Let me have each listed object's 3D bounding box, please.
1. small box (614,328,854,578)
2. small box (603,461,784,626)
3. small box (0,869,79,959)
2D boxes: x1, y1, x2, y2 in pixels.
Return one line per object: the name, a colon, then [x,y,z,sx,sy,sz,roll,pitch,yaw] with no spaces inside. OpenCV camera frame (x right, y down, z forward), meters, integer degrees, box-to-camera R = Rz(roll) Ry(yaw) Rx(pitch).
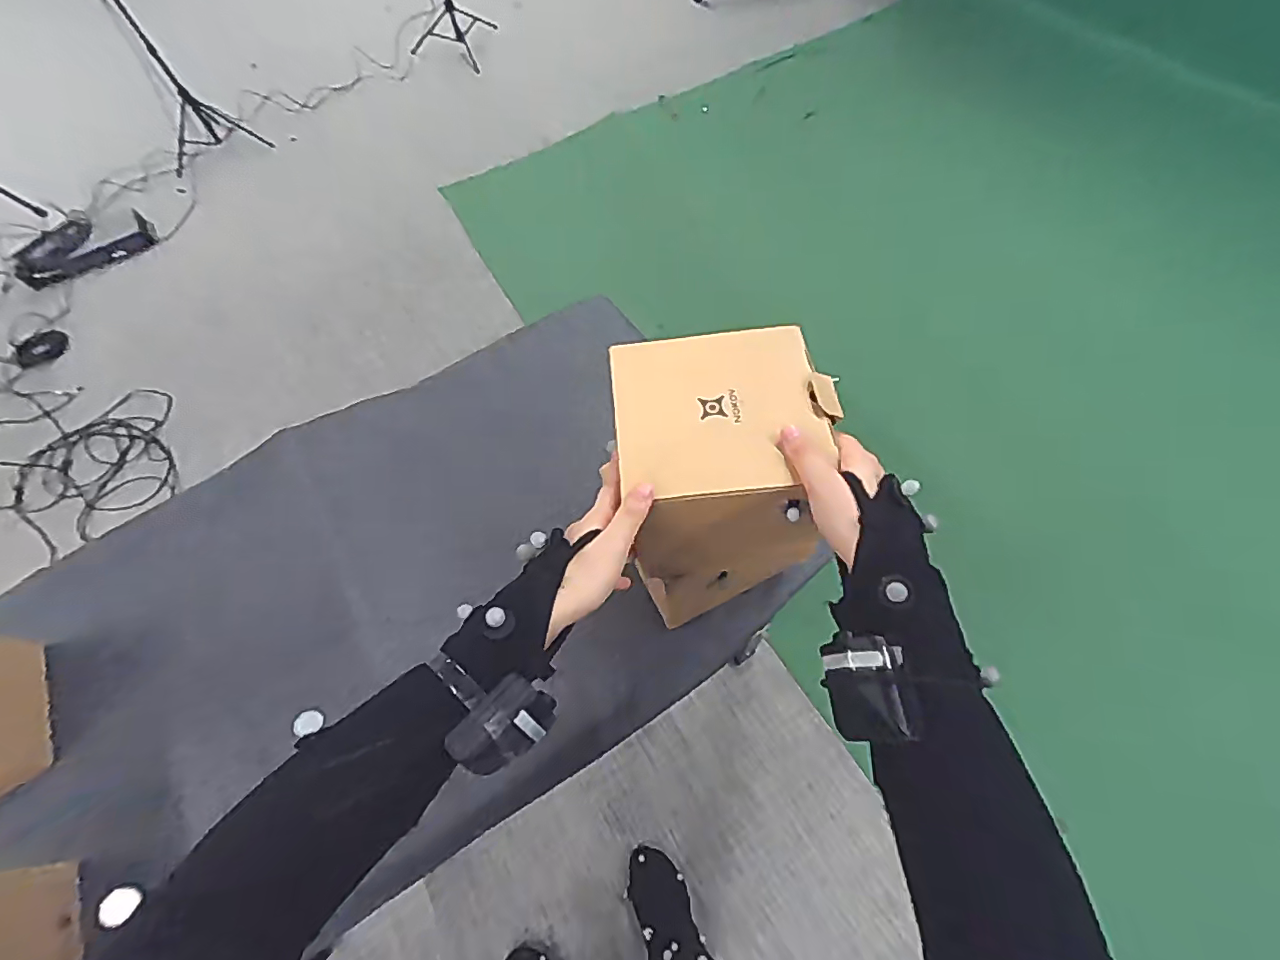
small box: [0.075,-0.016,0.512,0.179,0.176,0.168,-6,60,1]
small box: [0.076,0.054,0.661,0.179,0.176,0.168,-26,61,-9]
small box: [-0.662,0.491,0.484,0.179,0.176,0.168,-30,64,-11]
